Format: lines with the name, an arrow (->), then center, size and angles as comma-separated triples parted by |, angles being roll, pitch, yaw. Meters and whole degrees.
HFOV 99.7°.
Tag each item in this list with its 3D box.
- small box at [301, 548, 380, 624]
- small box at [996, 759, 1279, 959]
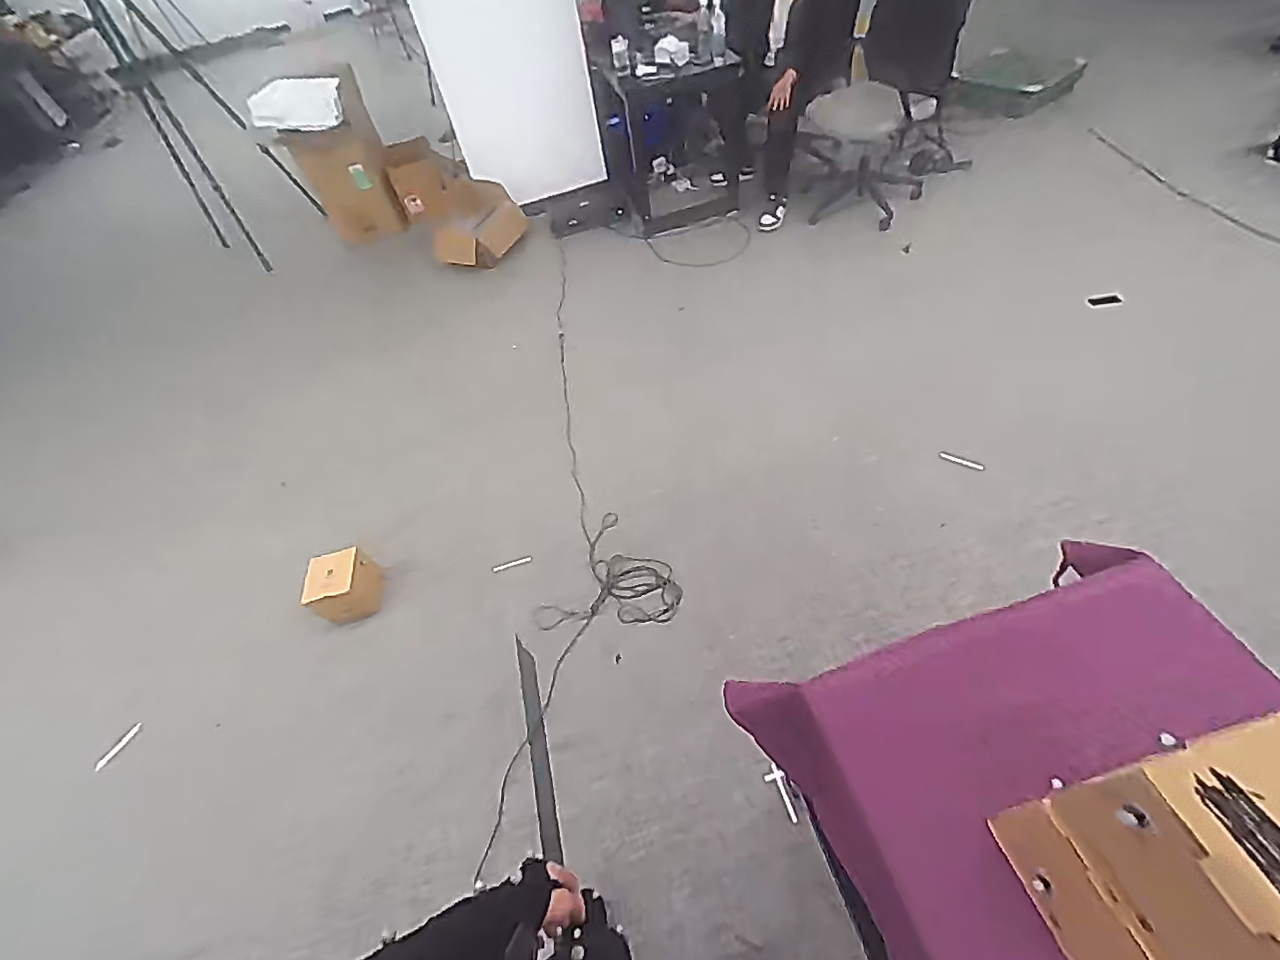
small box -> -1.008, 0.361, 1.839 | 0.168, 0.176, 0.179 | -14, 51, 0
small box -> 0.536, 0.425, 0.580 | 0.179, 0.176, 0.168 | -18, 52, -3
